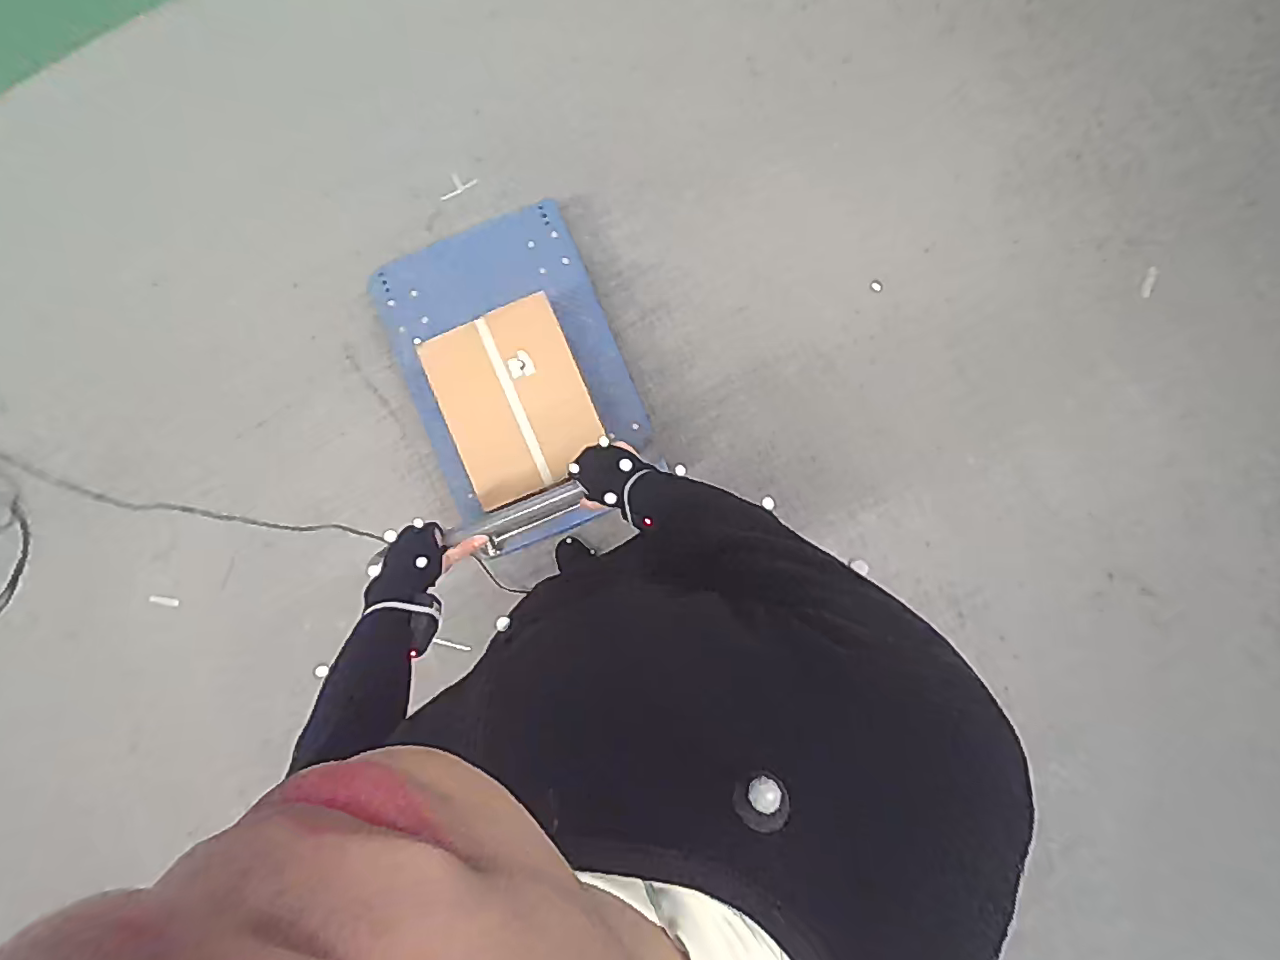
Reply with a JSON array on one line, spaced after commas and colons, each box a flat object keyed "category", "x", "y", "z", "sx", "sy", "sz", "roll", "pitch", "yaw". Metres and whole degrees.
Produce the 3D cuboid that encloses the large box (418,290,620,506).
[{"category": "large box", "x": -0.274, "y": -0.179, "z": 1.343, "sx": 0.320, "sy": 0.320, "sz": 0.408, "roll": -23, "pitch": 88, "yaw": 0}]
